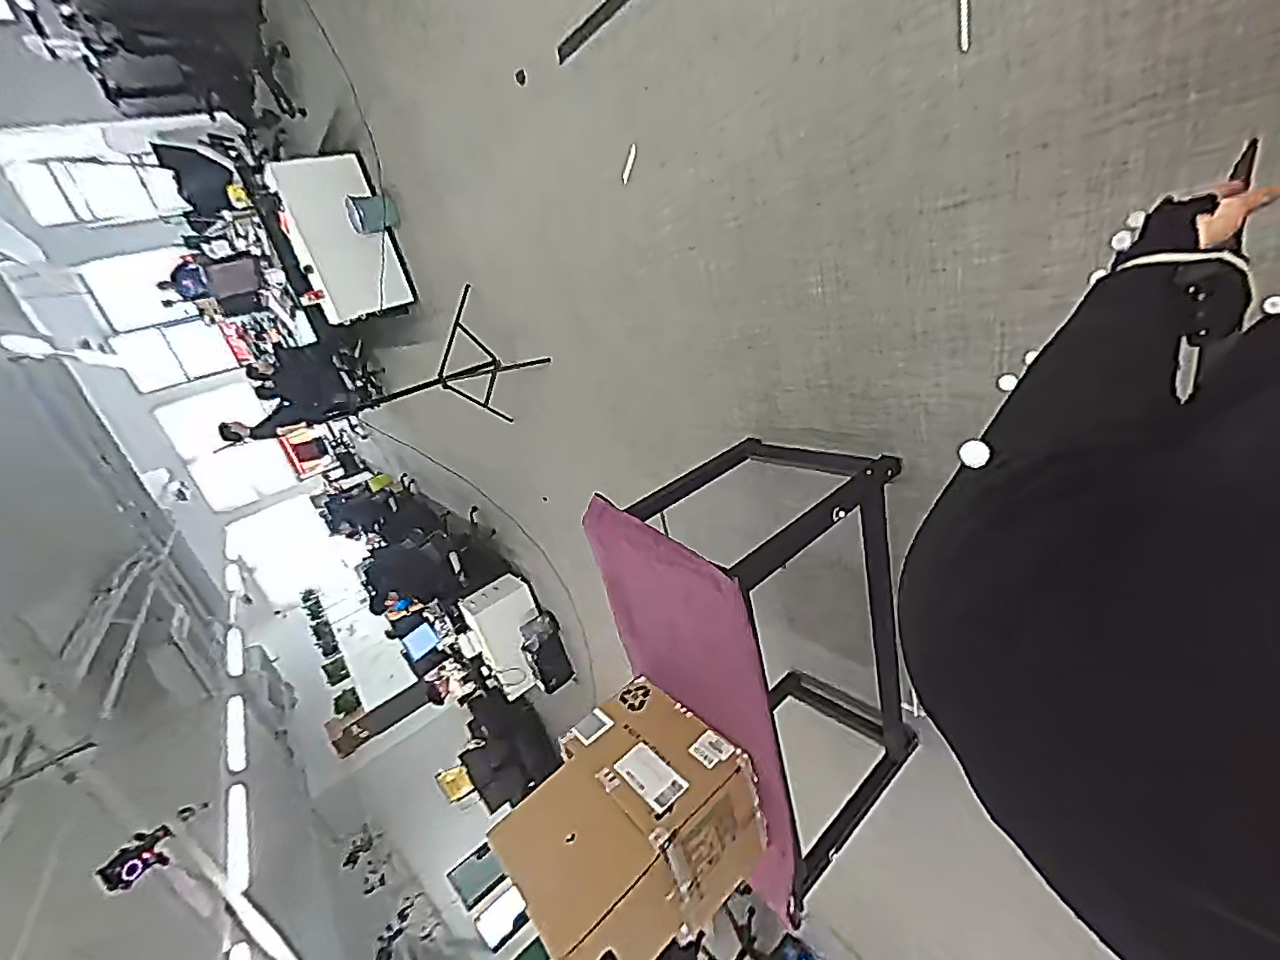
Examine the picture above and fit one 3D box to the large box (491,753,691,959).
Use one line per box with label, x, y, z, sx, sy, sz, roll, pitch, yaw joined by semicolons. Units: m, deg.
large box;-0.134;1.032;1.438;0.408;0.320;0.320;17;132;51
